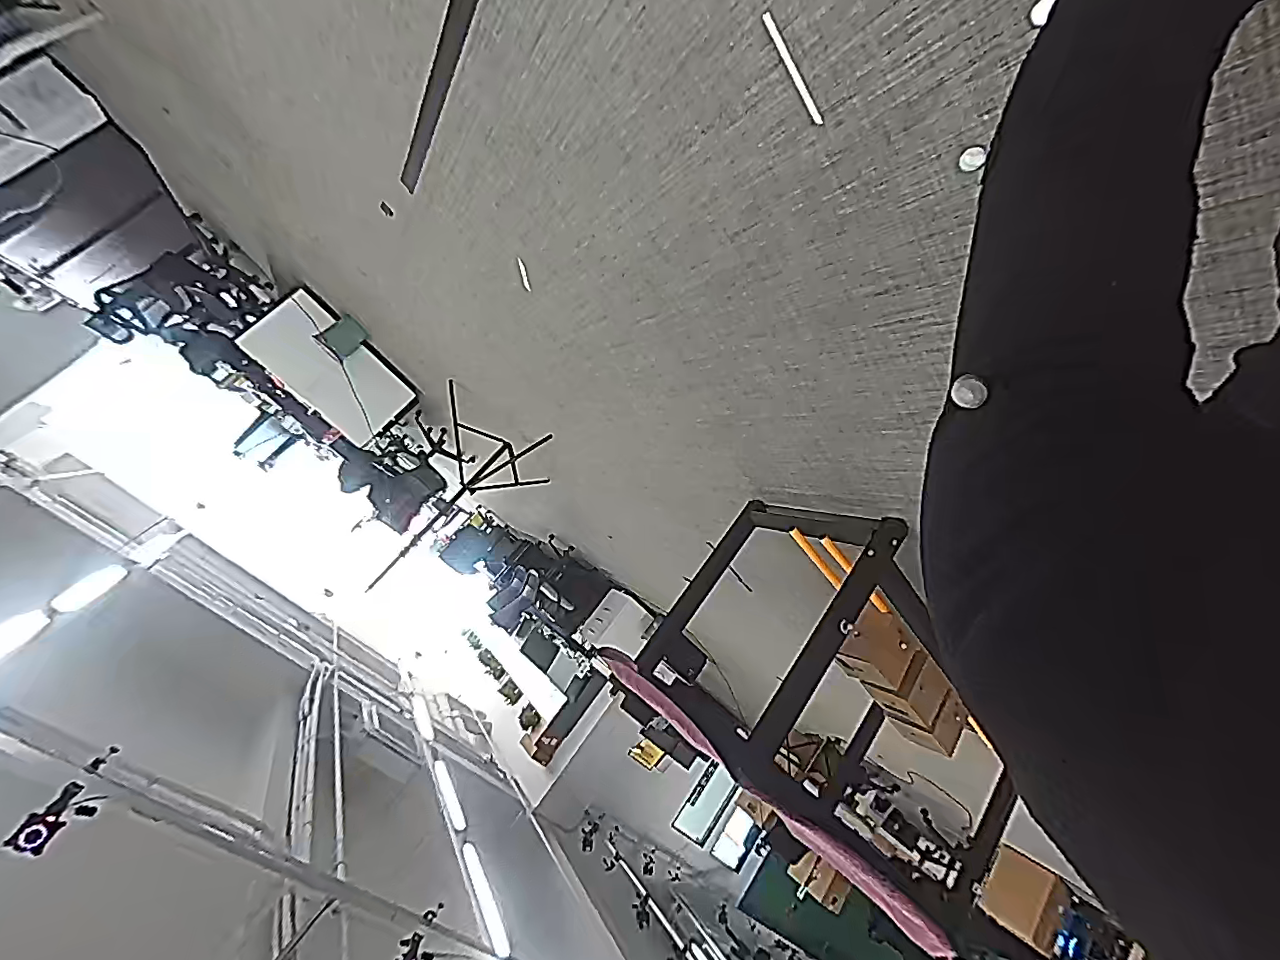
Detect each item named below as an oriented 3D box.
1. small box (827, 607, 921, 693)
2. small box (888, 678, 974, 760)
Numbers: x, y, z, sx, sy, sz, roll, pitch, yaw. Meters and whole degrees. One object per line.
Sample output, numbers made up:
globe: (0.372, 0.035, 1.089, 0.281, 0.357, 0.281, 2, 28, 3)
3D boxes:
small box: (0.718, 0.512, 1.656, 0.168, 0.176, 0.179, 45, 158, -23)
small box: (0.983, 0.798, 1.826, 0.168, 0.176, 0.179, 47, 158, -24)
